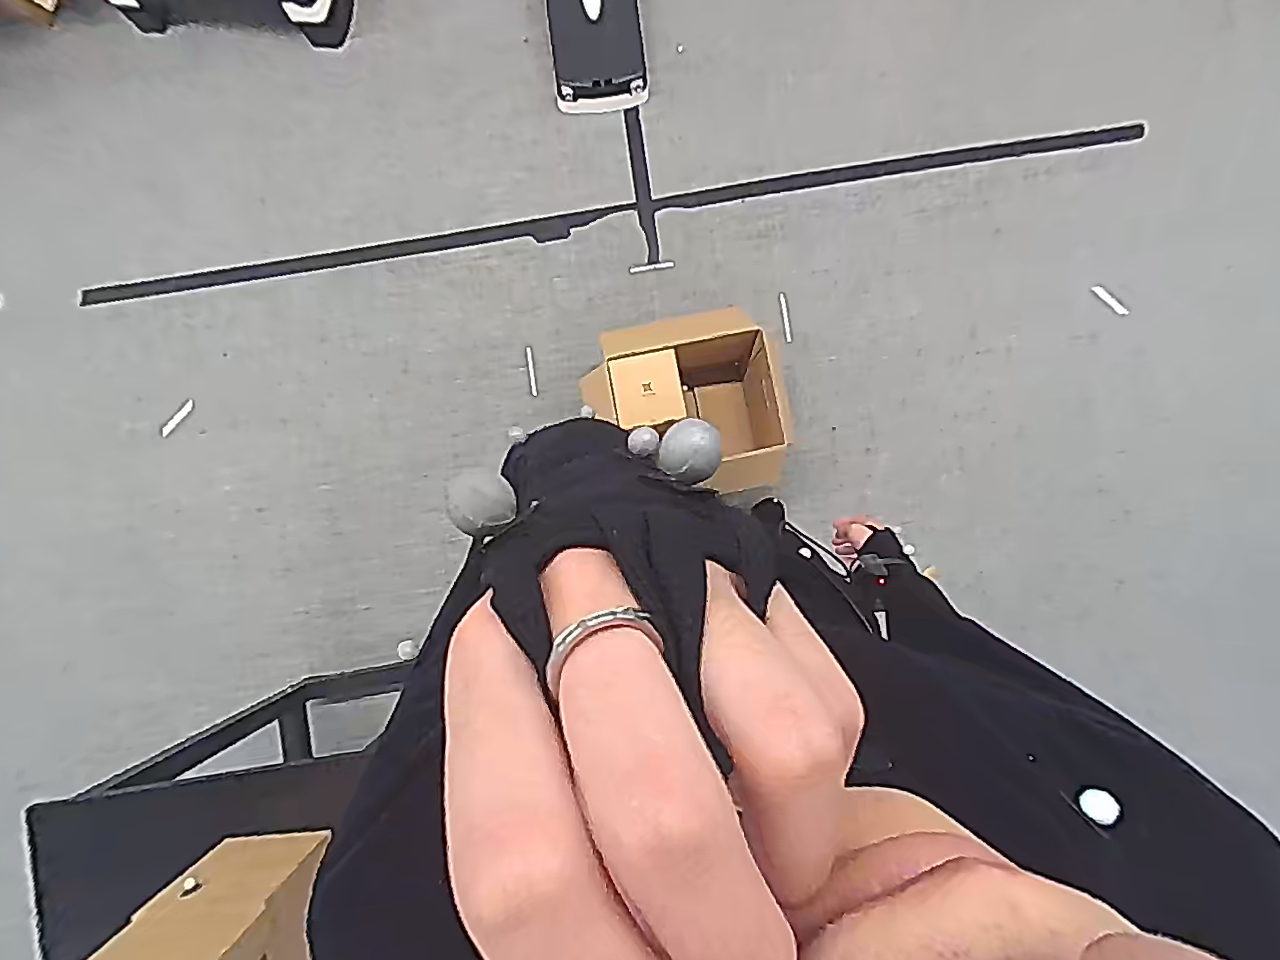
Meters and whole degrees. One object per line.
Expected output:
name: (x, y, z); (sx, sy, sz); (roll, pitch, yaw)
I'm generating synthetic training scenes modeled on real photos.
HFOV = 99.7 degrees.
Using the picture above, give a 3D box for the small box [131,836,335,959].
small box: (-0.583, 0.658, 0.793); (0.179, 0.176, 0.168); (-4, 89, 0)
